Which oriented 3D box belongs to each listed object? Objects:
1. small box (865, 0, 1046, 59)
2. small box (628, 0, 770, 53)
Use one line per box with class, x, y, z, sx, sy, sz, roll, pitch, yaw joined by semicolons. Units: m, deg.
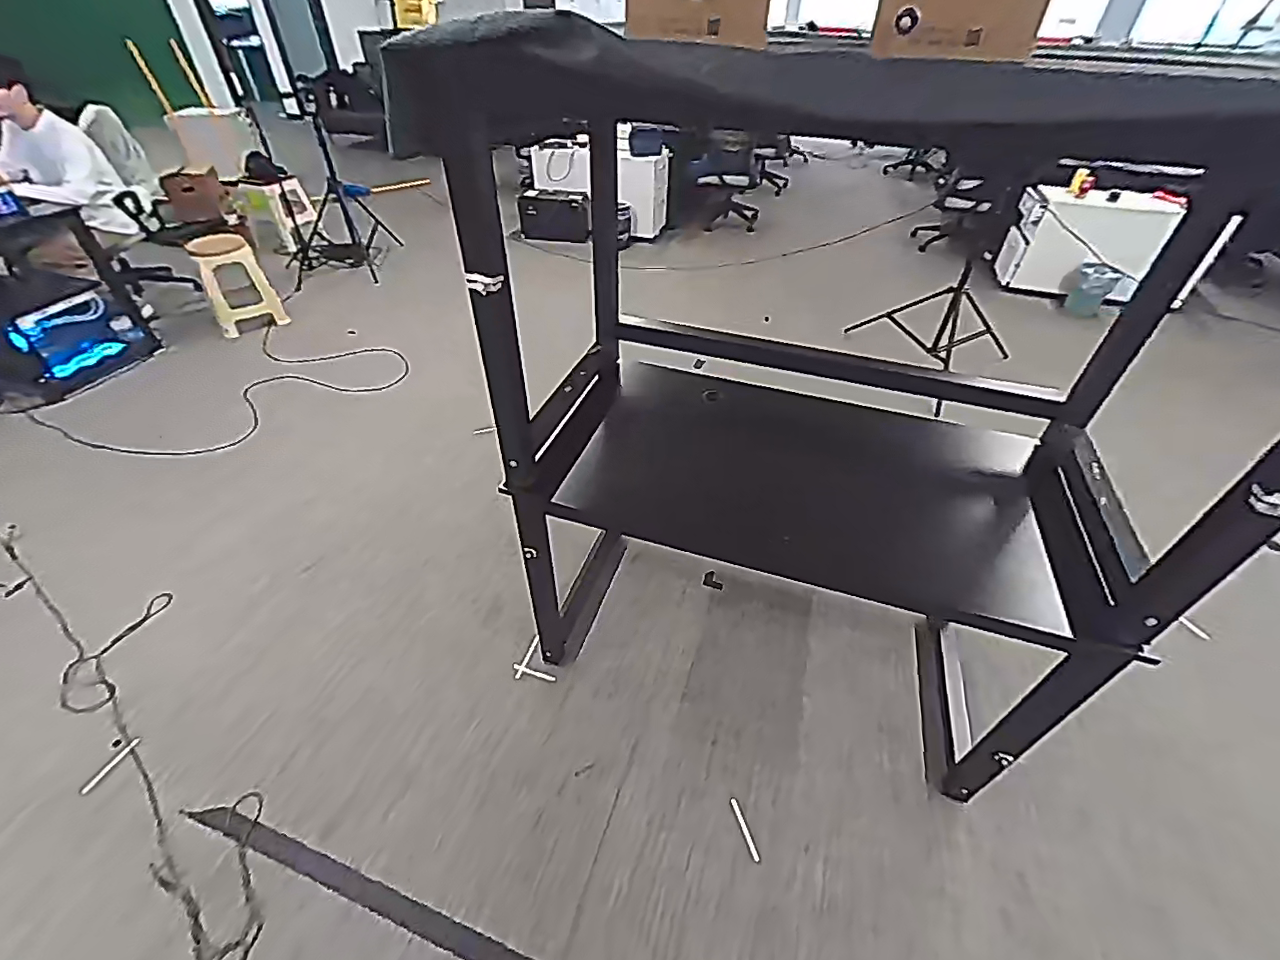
small box;0.356;-0.573;0.595;0.168;0.176;0.179;13;41;12
small box;0.078;-0.622;0.641;0.168;0.176;0.179;7;41;7
